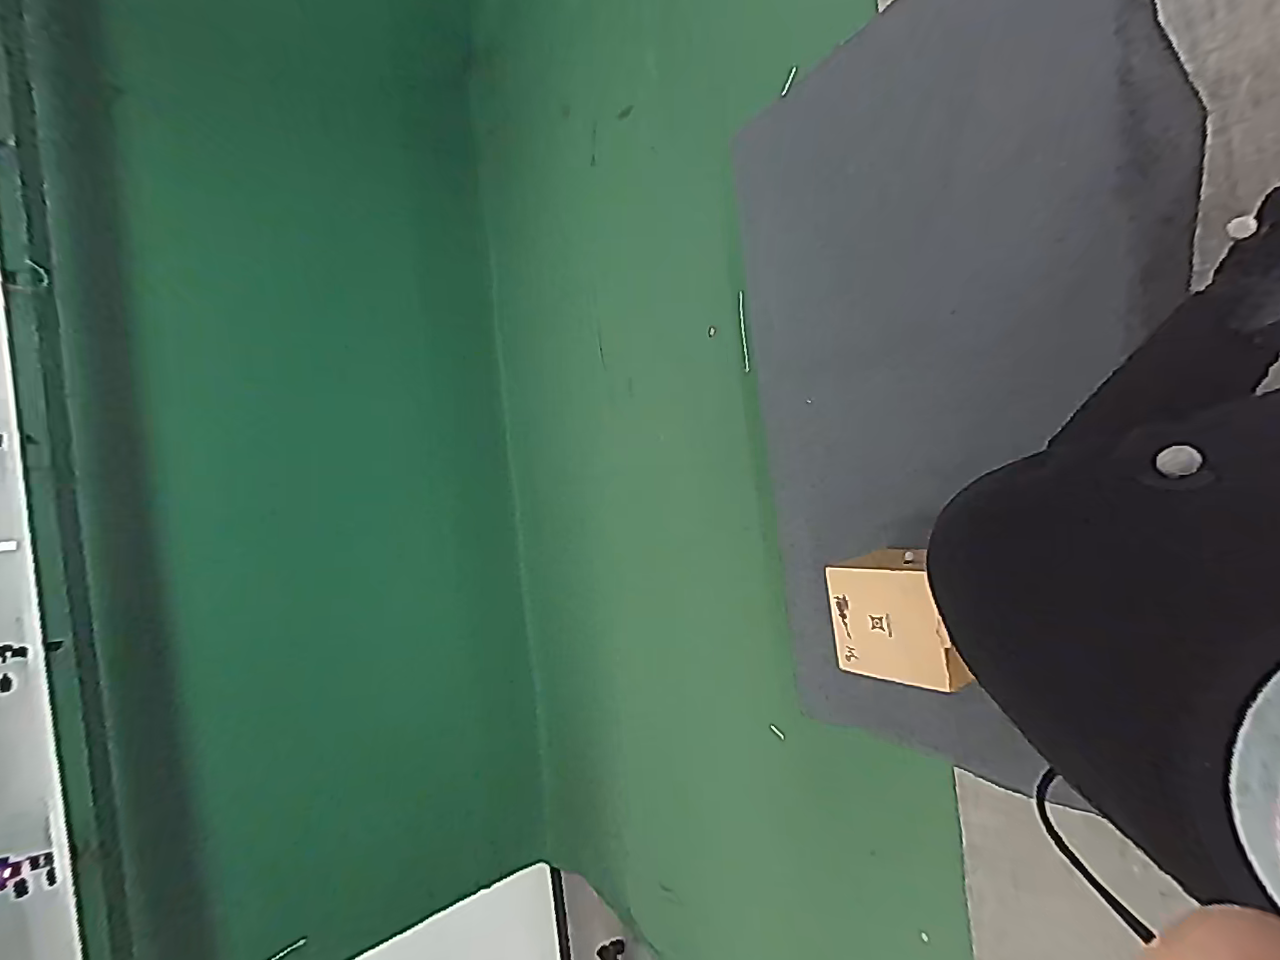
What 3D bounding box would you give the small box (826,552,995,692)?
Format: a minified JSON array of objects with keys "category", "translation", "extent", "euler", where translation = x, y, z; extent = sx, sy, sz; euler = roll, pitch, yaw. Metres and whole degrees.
[{"category":"small box","translation":[0.420,0.205,0.836],"extent":[0.179,0.176,0.168],"euler":[-10,86,54]}]
